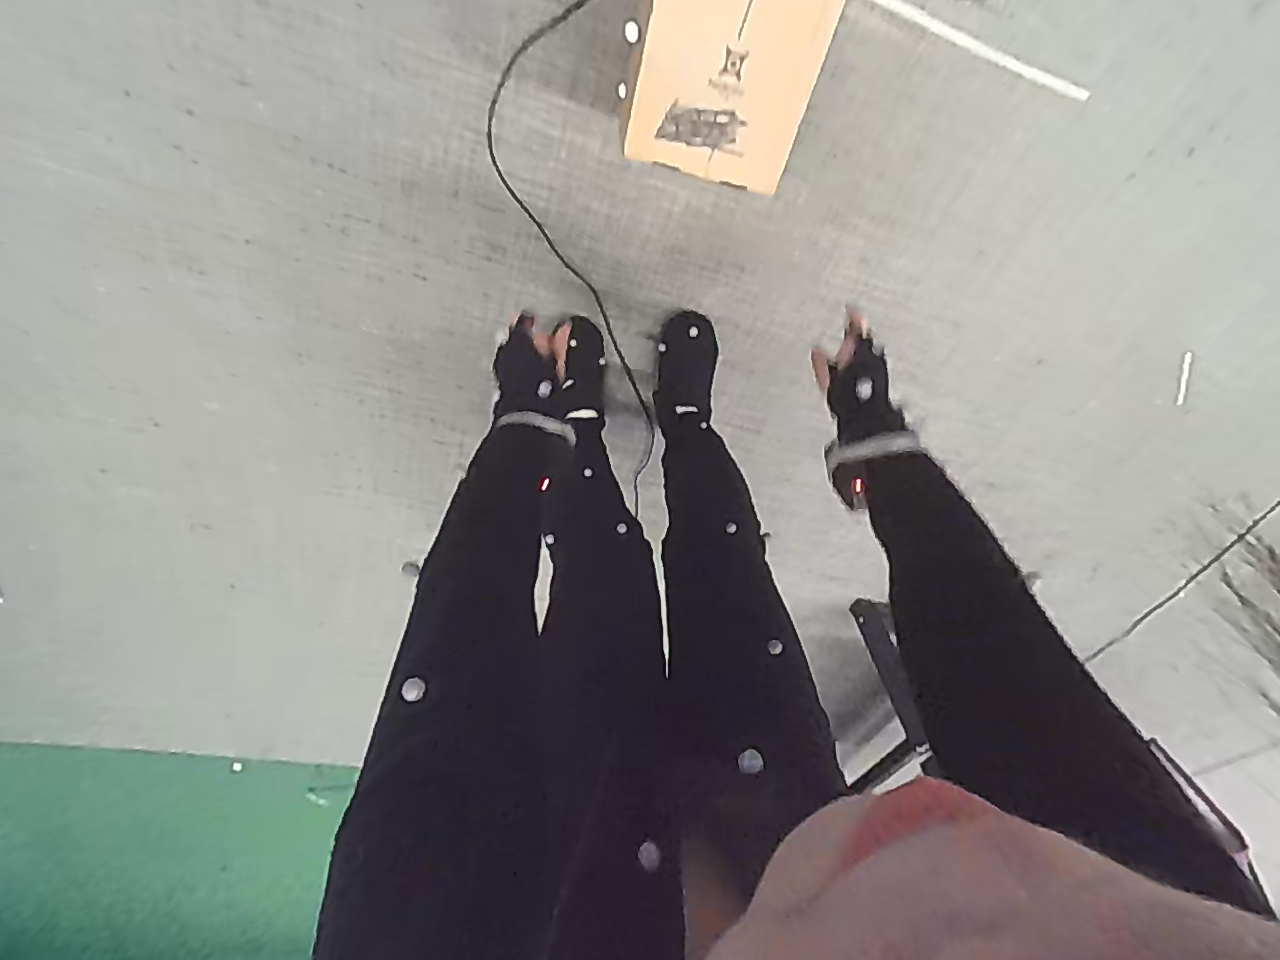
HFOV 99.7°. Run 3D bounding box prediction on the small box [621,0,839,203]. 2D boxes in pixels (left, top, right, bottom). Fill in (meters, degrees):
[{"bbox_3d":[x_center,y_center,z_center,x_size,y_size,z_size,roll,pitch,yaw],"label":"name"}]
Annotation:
[{"bbox_3d":[0.078,-0.426,0.577,0.168,0.176,0.179,9,128,-10],"label":"small box"}]
